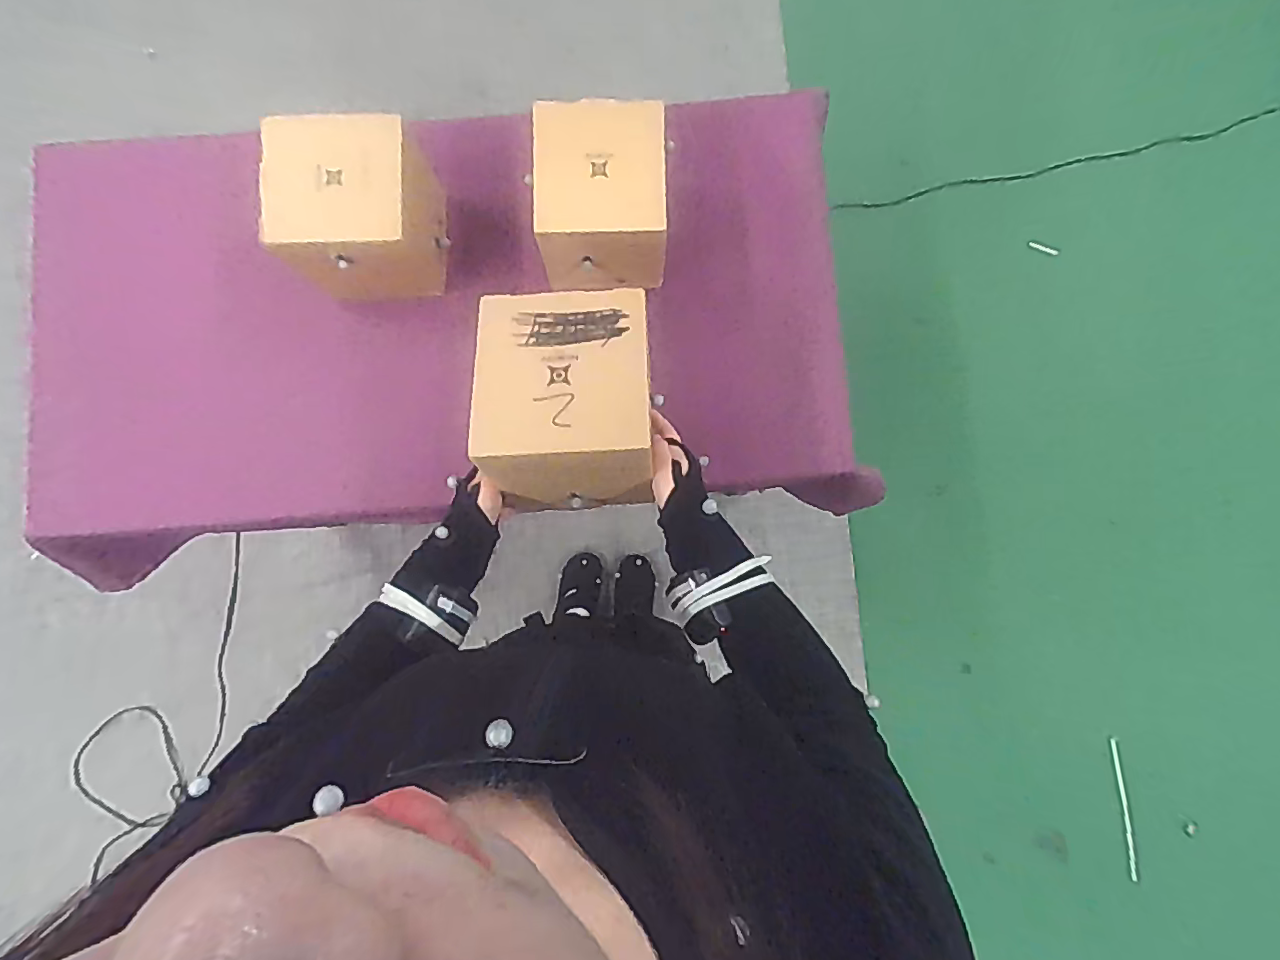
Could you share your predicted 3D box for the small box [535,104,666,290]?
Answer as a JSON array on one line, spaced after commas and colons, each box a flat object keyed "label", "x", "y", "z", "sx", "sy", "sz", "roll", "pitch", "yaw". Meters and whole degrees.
[{"label": "small box", "x": -0.048, "y": -0.378, "z": 0.752, "sx": 0.168, "sy": 0.176, "sz": 0.179, "roll": -1, "pitch": 84, "yaw": 0}]

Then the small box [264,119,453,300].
[{"label": "small box", "x": -0.376, "y": -0.361, "z": 0.749, "sx": 0.179, "sy": 0.176, "sz": 0.168, "roll": -1, "pitch": 85, "yaw": -1}]
